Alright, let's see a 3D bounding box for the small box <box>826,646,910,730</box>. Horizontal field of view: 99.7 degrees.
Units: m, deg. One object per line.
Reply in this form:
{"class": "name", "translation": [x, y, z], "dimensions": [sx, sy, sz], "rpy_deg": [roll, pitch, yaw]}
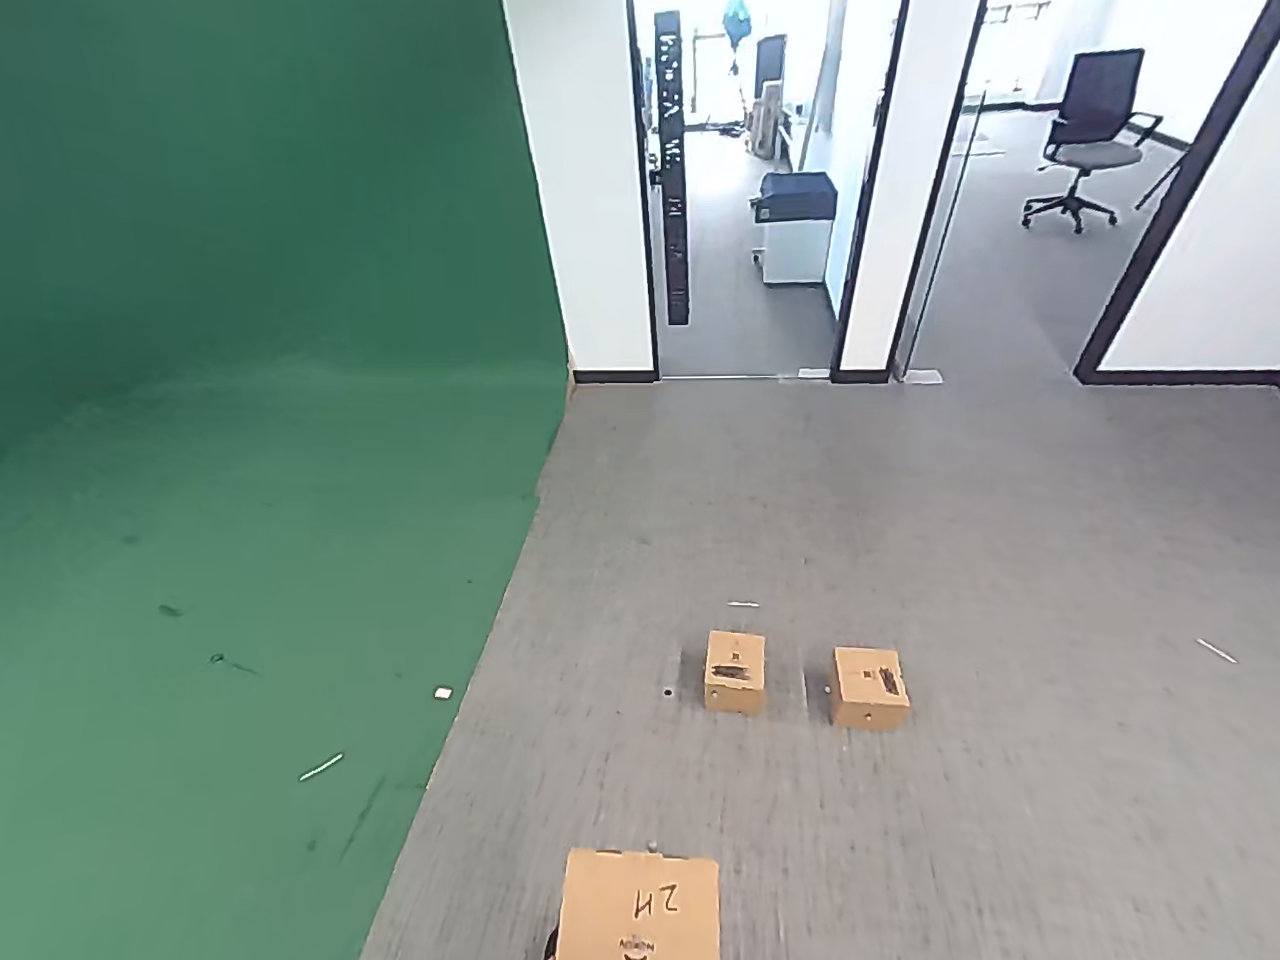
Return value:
{"class": "small box", "translation": [0.643, 0.596, 1.544], "dimensions": [0.179, 0.176, 0.168], "rpy_deg": [1, 42, 9]}

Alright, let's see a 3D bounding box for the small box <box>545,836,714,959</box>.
{"class": "small box", "translation": [-0.002, 0.510, 0.600], "dimensions": [0.168, 0.176, 0.179], "rpy_deg": [0, 54, 8]}
